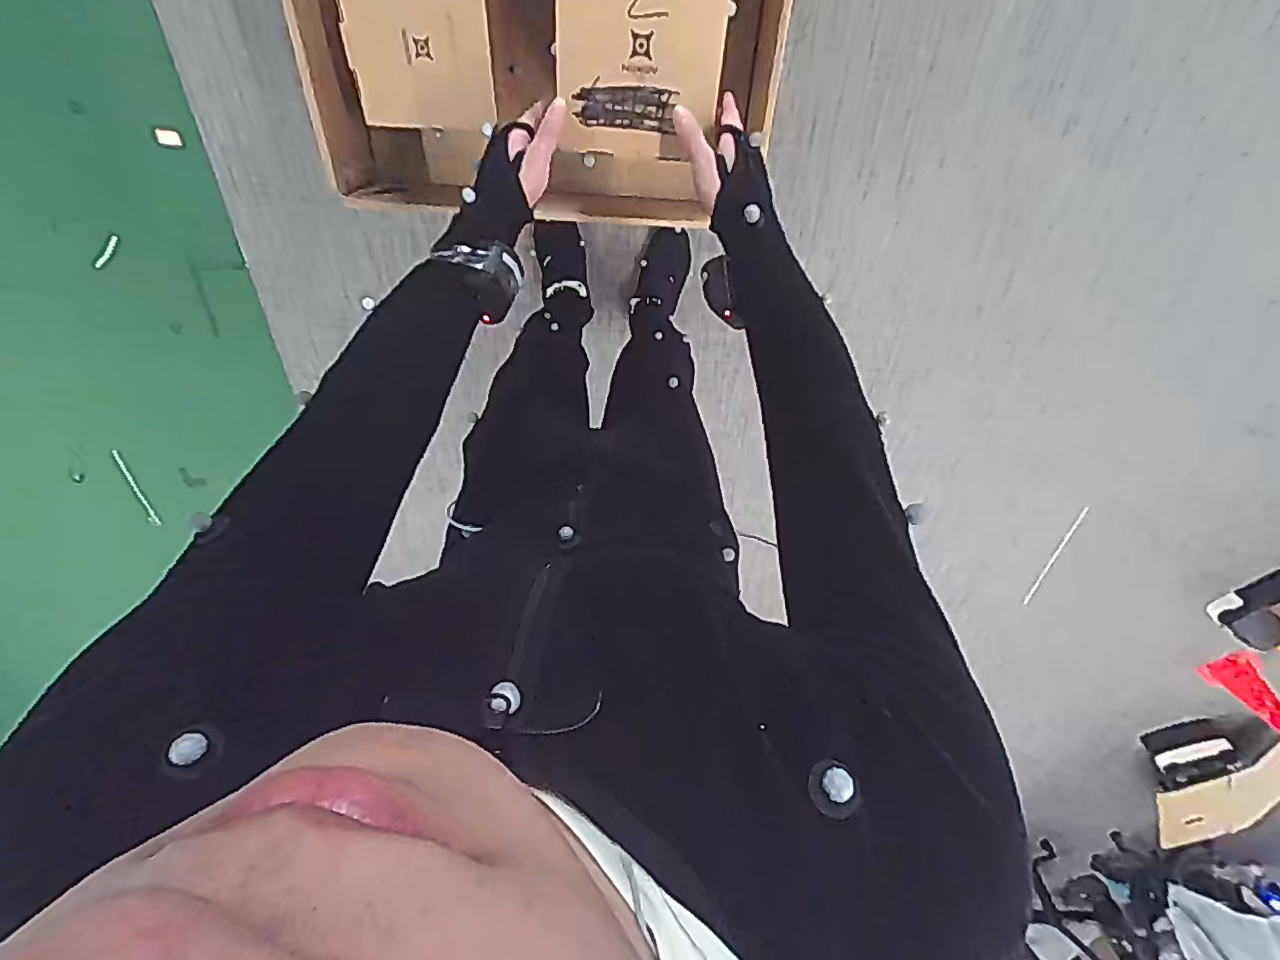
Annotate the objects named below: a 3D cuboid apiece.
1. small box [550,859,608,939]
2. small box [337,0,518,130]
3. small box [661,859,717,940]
[{"bbox_3d":[-0.193,1.350,1.745,0.168,0.176,0.179,0,127,1],"label":"small box"},{"bbox_3d":[-0.269,-0.572,0.719,0.179,0.176,0.168,1,126,-2],"label":"small box"},{"bbox_3d":[0.154,1.349,1.738,0.168,0.176,0.179,-1,126,1],"label":"small box"}]
